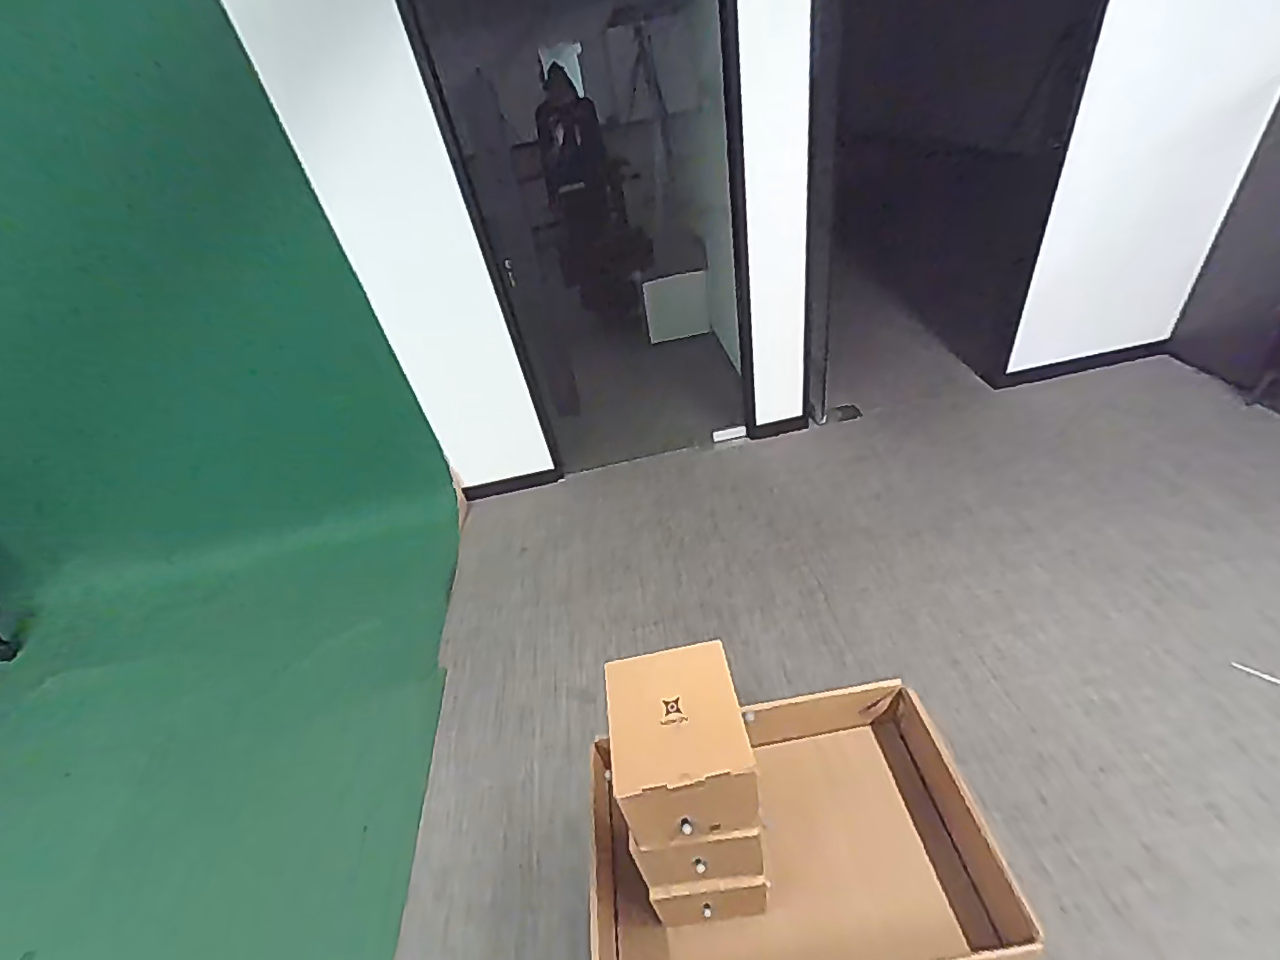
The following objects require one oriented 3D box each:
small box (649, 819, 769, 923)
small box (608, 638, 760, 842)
[{"bbox_3d":[0.111,0.611,0.903,0.179,0.176,0.168,-10,38,3],"label":"small box"},{"bbox_3d":[0.057,0.344,0.721,0.168,0.176,0.179,-12,38,1],"label":"small box"}]
